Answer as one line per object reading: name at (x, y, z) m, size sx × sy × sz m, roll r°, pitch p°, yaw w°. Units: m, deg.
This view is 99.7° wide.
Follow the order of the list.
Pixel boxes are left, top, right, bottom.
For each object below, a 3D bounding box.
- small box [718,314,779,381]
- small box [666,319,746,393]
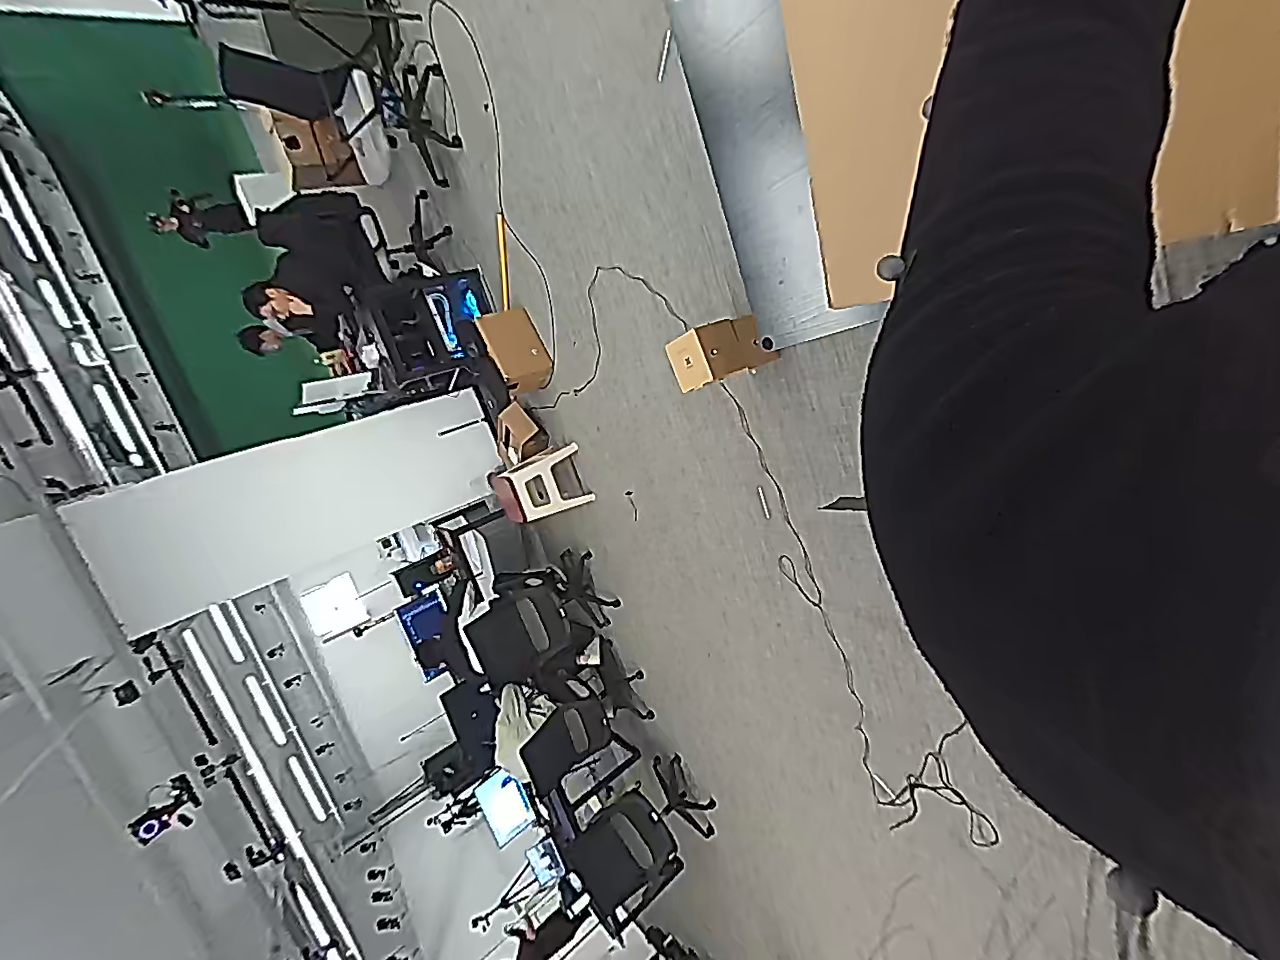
small box at (0.351, -0.465, 1.875) m, size 0.168 × 0.176 × 0.179 m, roll -9°, pitch 104°, yaw 58°
small box at (0.222, -0.411, 1.791) m, size 0.168 × 0.176 × 0.179 m, roll -15°, pitch 97°, yaw 57°
